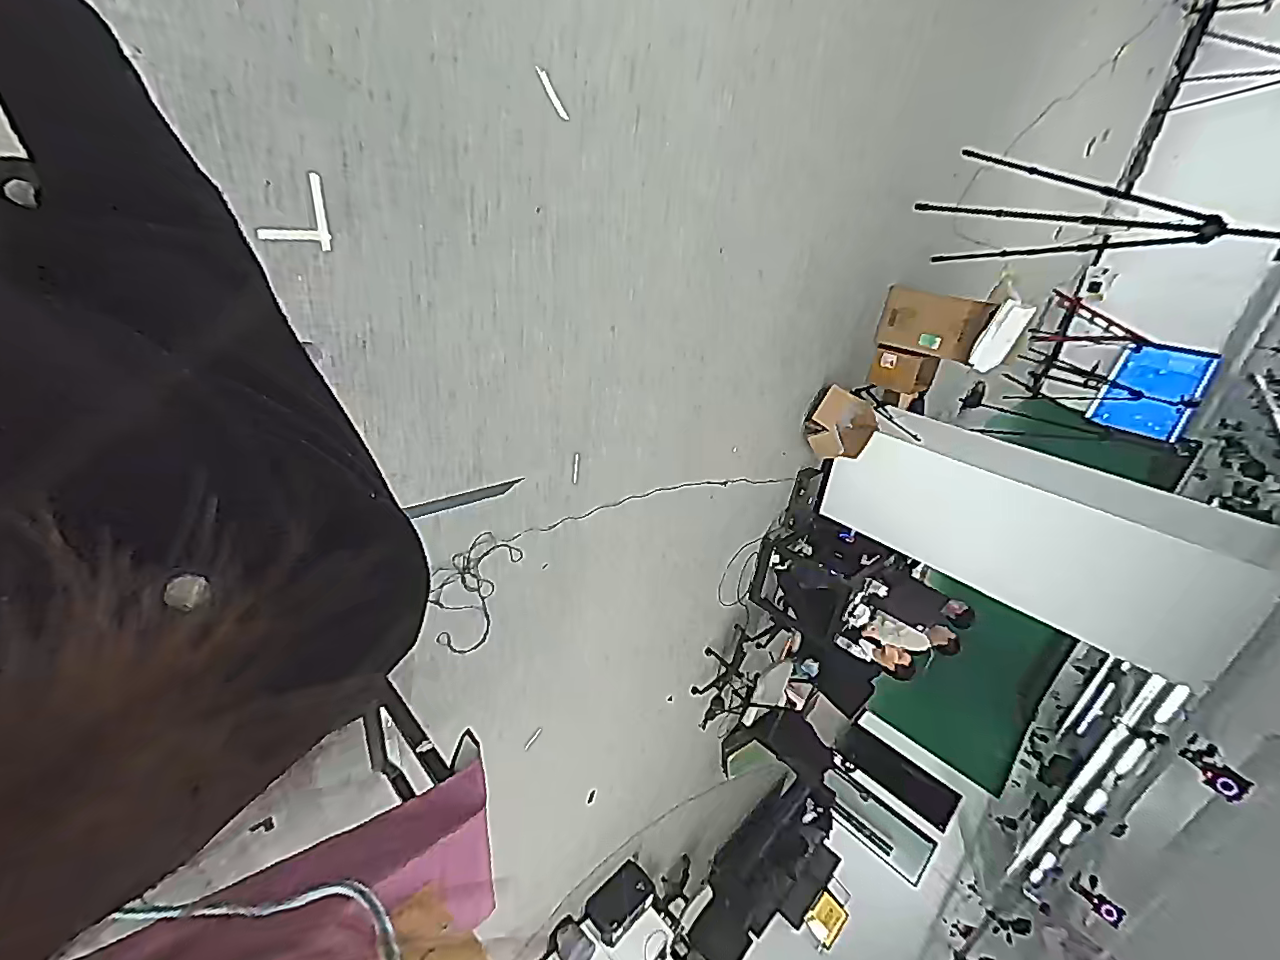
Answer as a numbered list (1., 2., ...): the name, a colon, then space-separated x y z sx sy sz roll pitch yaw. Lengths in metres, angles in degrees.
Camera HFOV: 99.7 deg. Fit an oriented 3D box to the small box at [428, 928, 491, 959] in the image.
1. small box: -0.472 1.321 1.388 0.179 0.176 0.168 -10 120 -46
